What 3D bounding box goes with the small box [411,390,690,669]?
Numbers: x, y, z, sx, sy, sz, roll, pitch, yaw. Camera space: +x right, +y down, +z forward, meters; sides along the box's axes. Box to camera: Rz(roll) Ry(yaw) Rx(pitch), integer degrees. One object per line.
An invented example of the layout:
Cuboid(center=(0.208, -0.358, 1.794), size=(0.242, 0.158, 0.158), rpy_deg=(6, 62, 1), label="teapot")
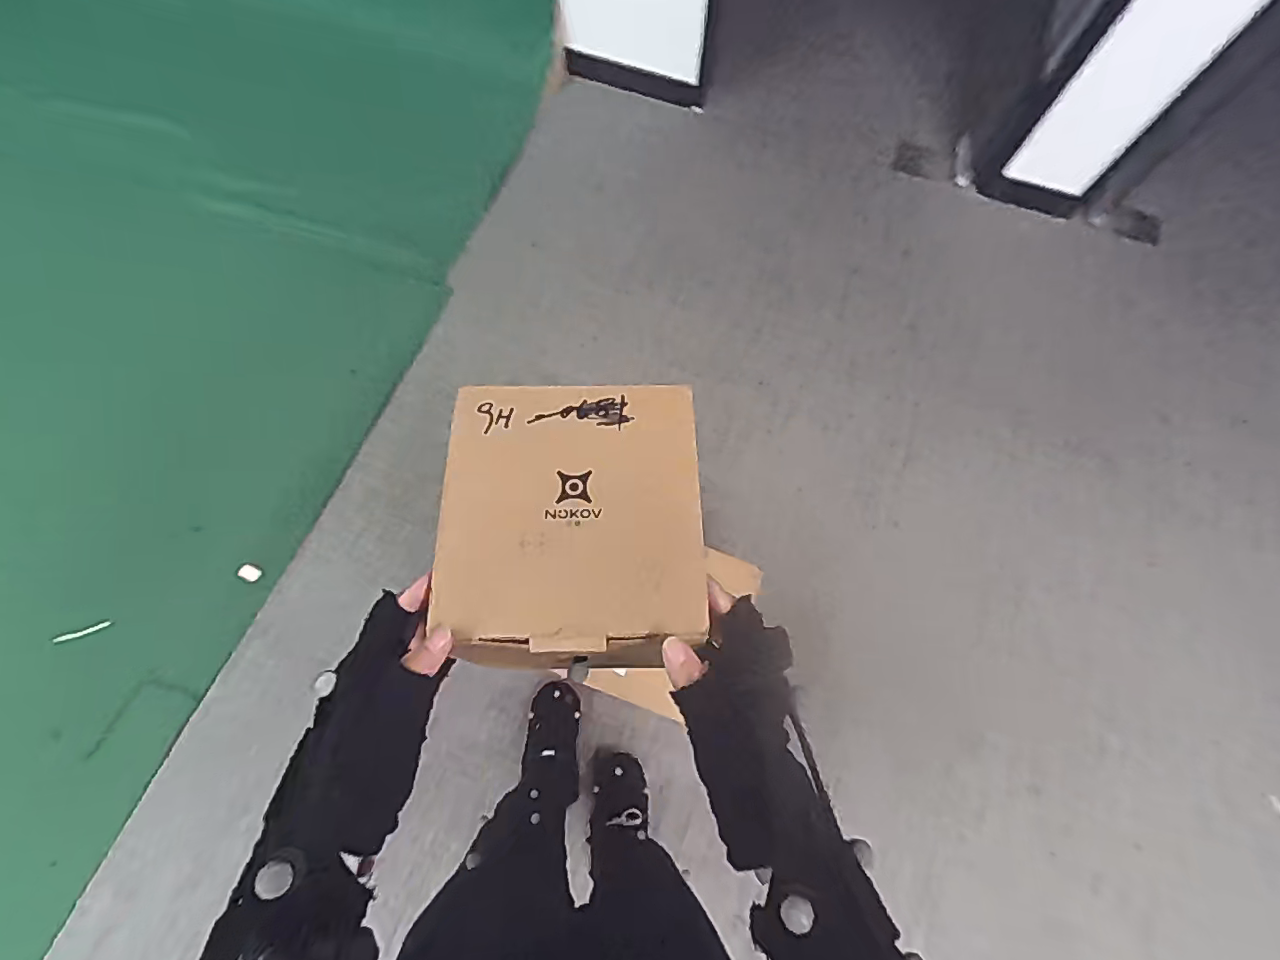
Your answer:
Cuboid(center=(-0.054, 0.050, 0.413), size=(0.168, 0.176, 0.179), rpy_deg=(-1, 68, -2), label="small box")
